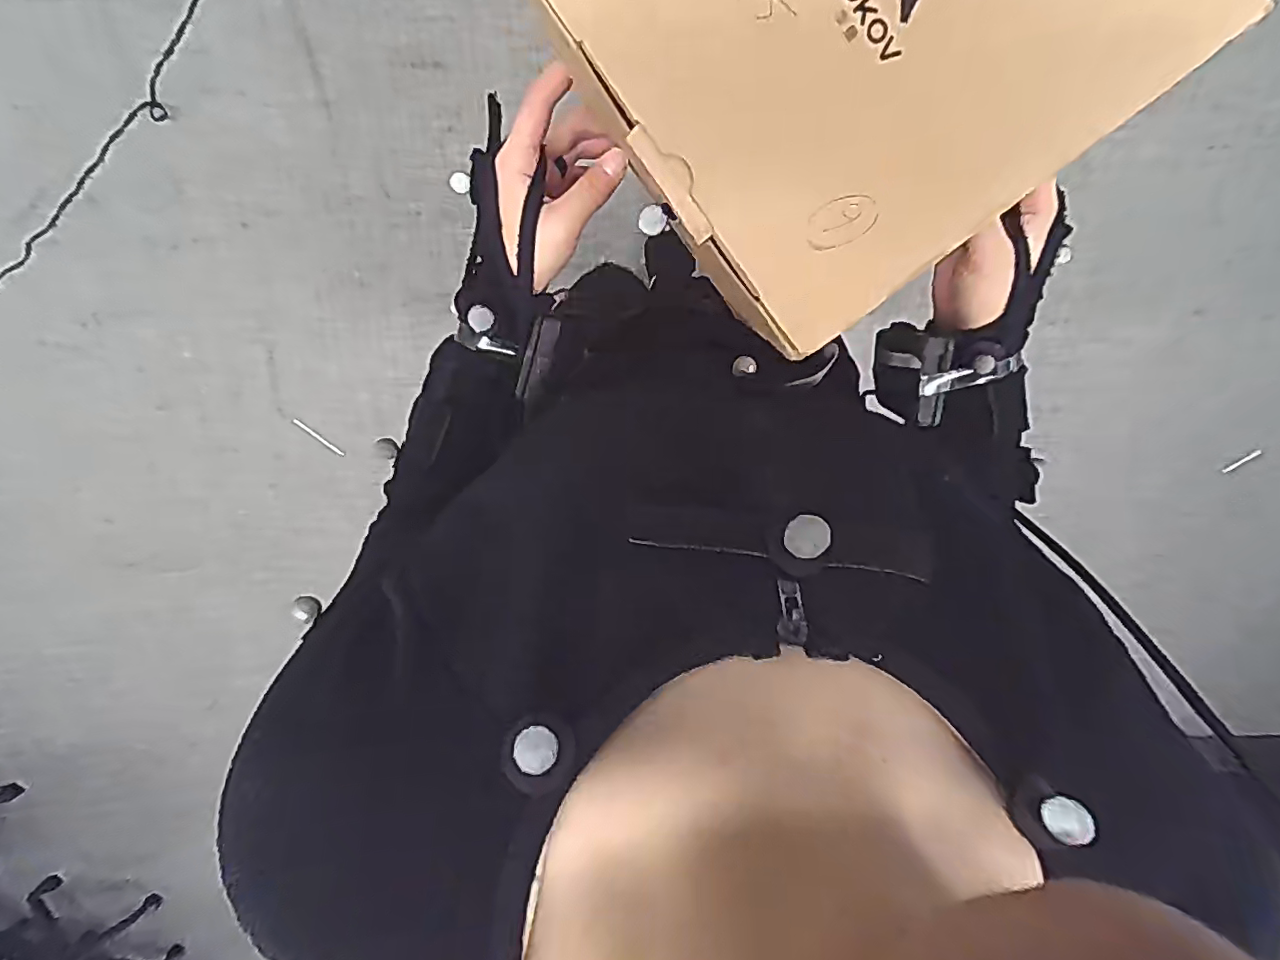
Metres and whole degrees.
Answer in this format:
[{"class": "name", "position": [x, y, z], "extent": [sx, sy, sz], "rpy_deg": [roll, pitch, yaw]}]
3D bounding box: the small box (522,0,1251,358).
[{"class": "small box", "position": [0.080, -0.183, 0.247], "extent": [0.179, 0.176, 0.168], "rpy_deg": [-36, 105, 16]}]
